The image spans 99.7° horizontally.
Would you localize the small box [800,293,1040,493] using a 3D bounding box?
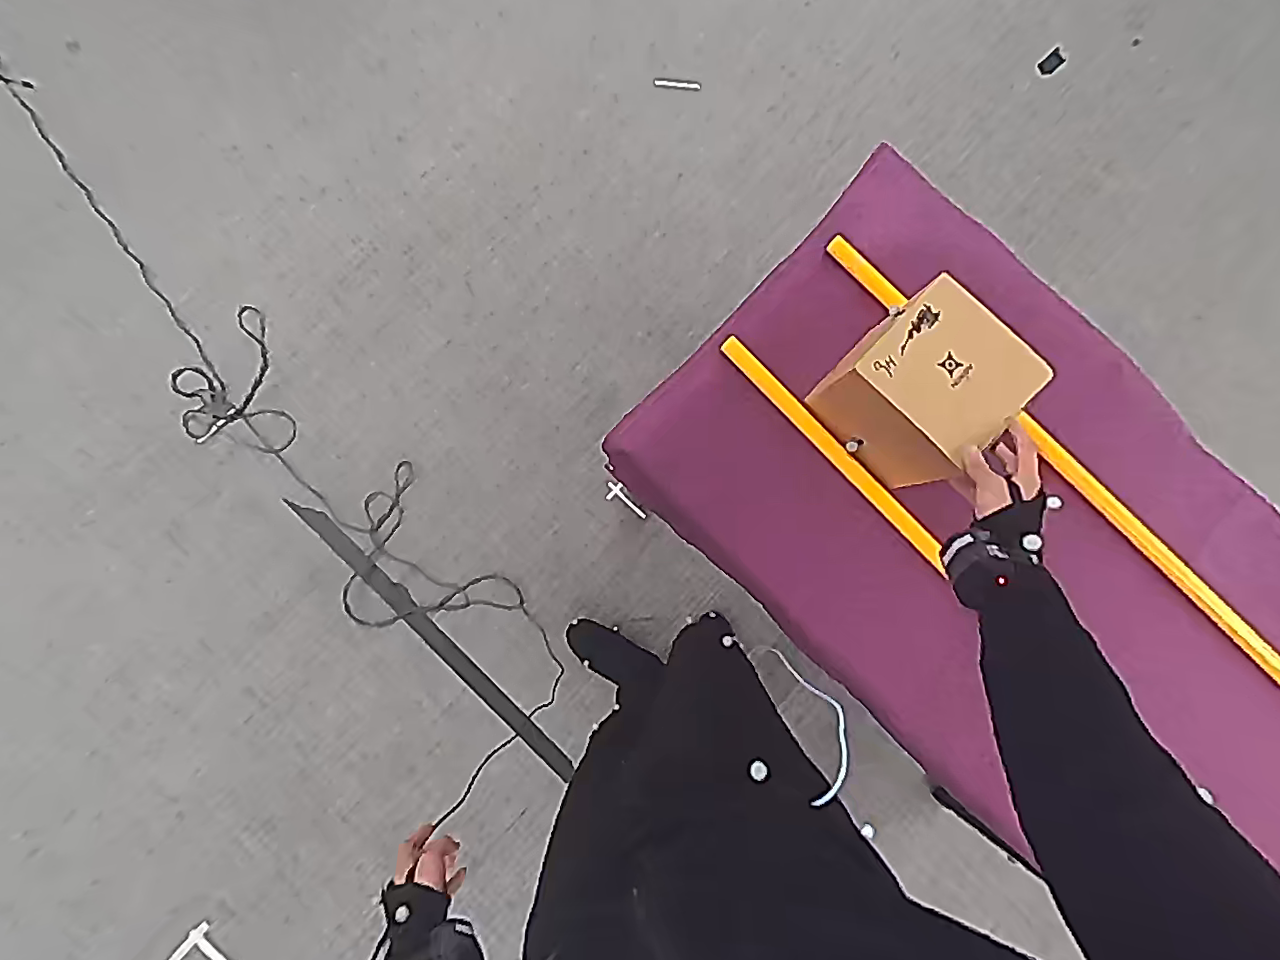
[{"bbox_3d":[0.345,-0.098,0.700,0.179,0.176,0.168,45,83,1],"label":"small box"}]
